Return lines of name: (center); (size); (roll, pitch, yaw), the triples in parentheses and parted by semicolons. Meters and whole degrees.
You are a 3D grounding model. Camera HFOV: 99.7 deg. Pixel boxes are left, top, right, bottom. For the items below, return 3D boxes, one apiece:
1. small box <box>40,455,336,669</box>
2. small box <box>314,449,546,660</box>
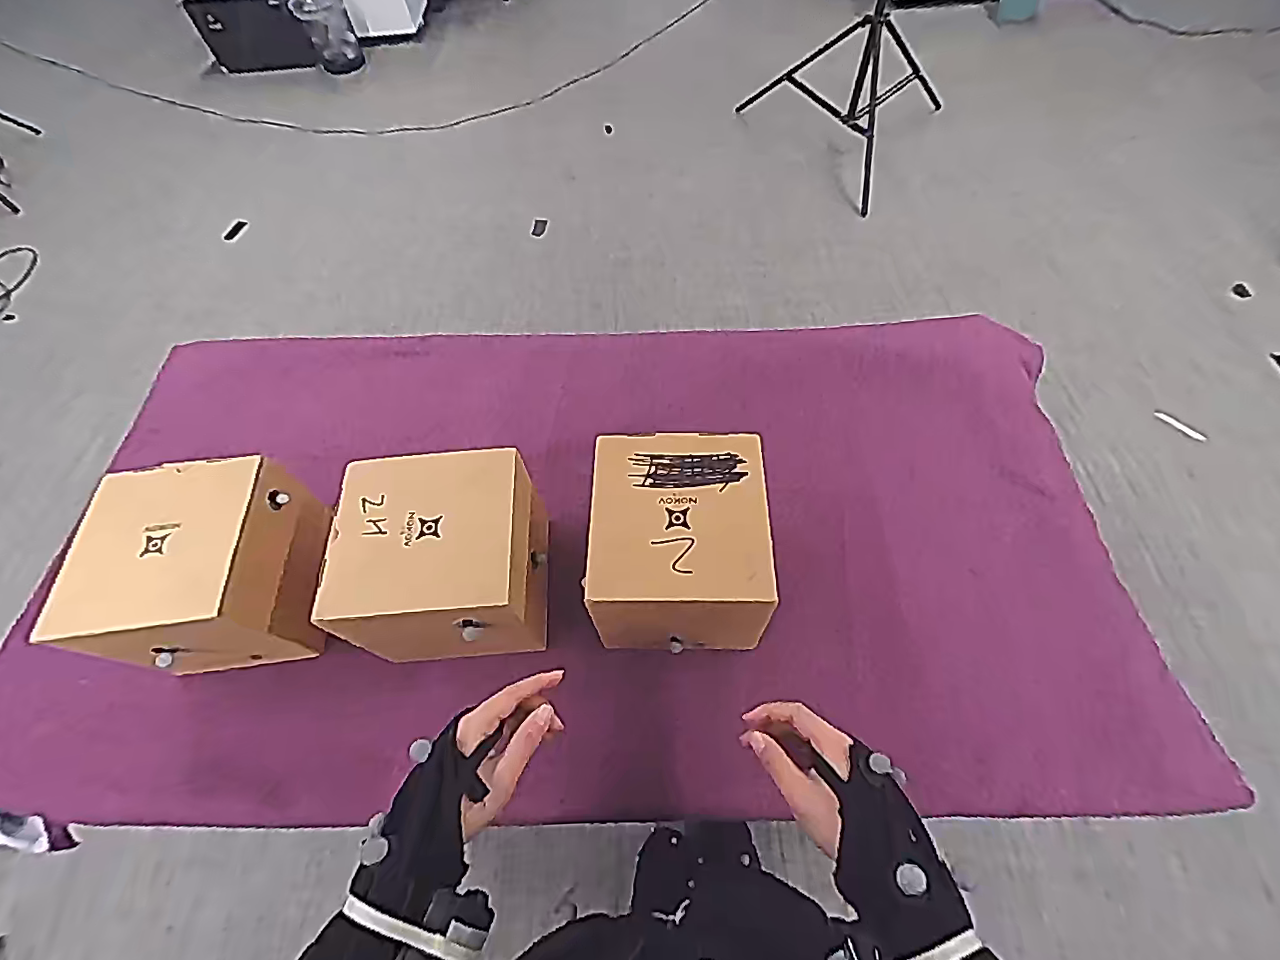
small box: (-0.455, 0.099, 0.589); (0.168, 0.176, 0.179); (-8, 59, -1)
small box: (-0.199, 0.086, 0.577); (0.179, 0.176, 0.168); (-5, 59, 0)
